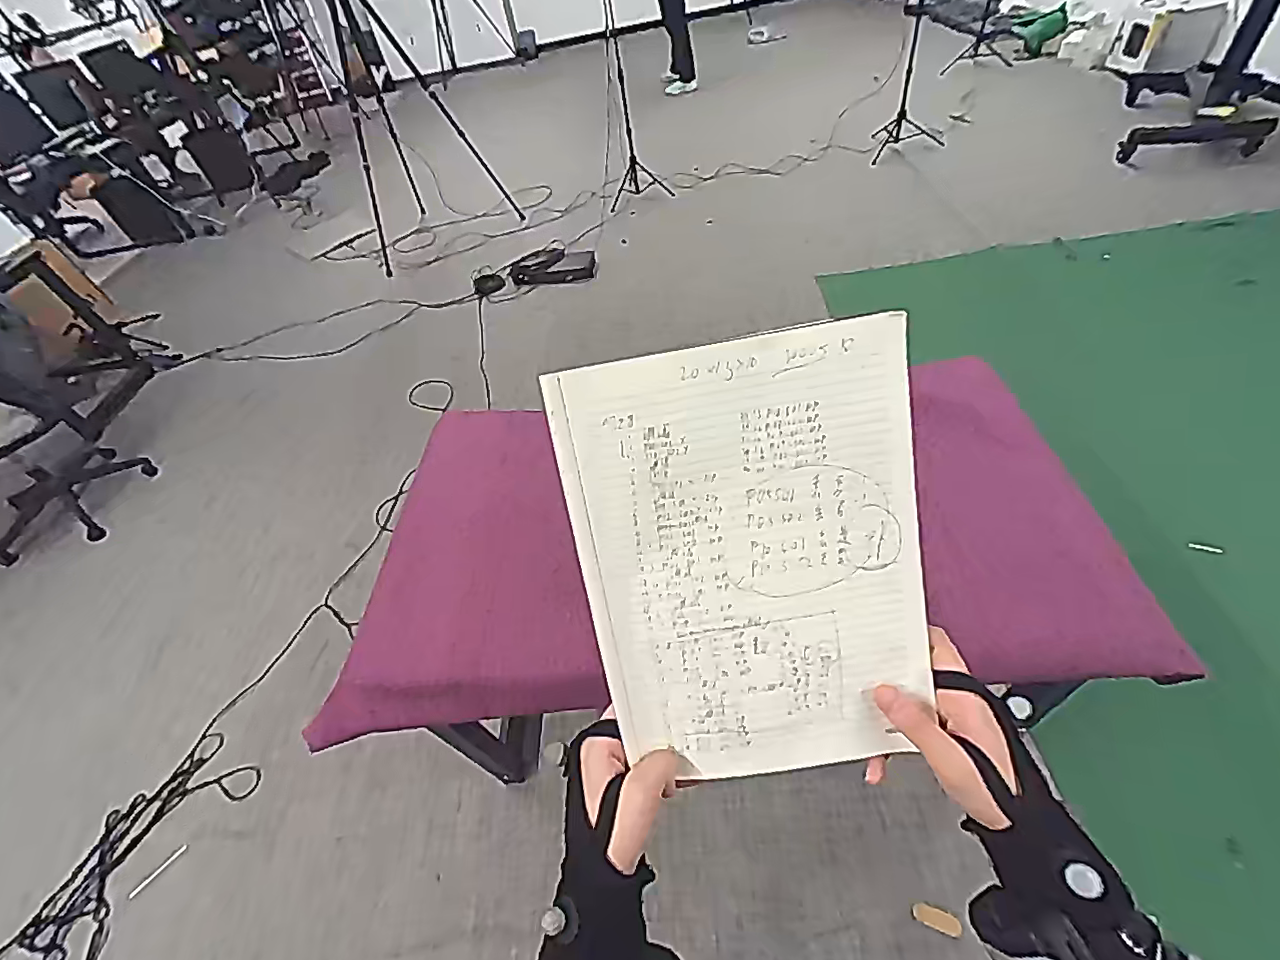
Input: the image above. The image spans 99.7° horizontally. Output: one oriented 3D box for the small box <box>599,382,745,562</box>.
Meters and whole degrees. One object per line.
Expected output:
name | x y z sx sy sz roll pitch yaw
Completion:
small box | 0.048 -0.004 0.721 0.168 0.176 0.179 -6 46 7
